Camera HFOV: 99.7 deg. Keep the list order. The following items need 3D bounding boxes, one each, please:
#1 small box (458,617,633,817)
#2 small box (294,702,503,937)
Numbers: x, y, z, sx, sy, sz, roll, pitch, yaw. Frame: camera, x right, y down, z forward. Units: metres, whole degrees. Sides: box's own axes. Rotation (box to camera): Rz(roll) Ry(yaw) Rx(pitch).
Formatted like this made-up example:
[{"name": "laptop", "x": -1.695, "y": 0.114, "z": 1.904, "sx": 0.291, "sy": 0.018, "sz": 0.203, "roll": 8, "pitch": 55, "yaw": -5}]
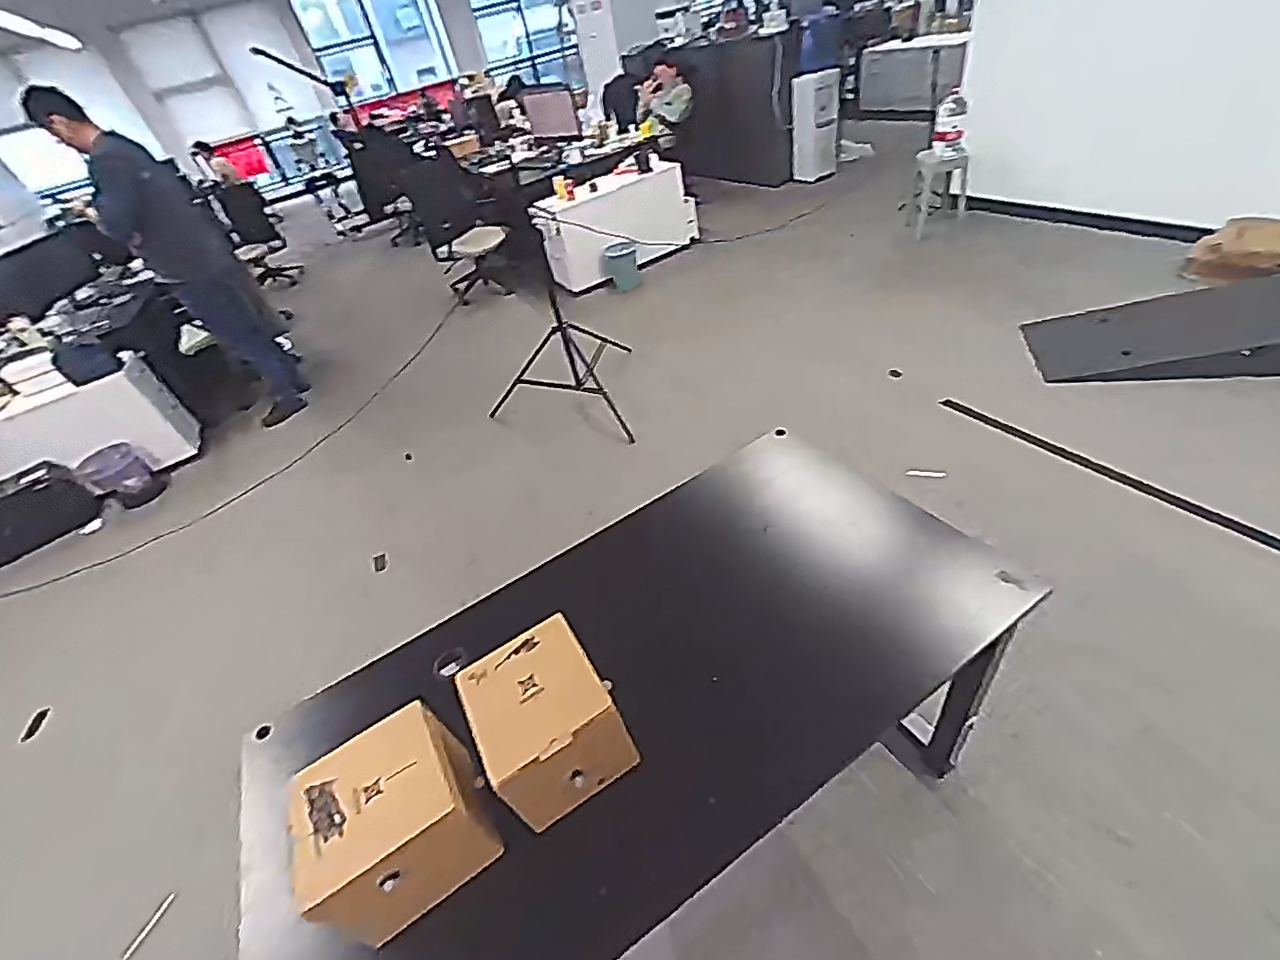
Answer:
[{"name": "small box", "x": -0.128, "y": 0.337, "z": 0.760, "sx": 0.168, "sy": 0.176, "sz": 0.179, "roll": -28, "pitch": 43, "yaw": -16}, {"name": "small box", "x": -0.307, "y": 0.438, "z": 0.700, "sx": 0.179, "sy": 0.176, "sz": 0.168, "roll": -30, "pitch": 43, "yaw": -18}]
